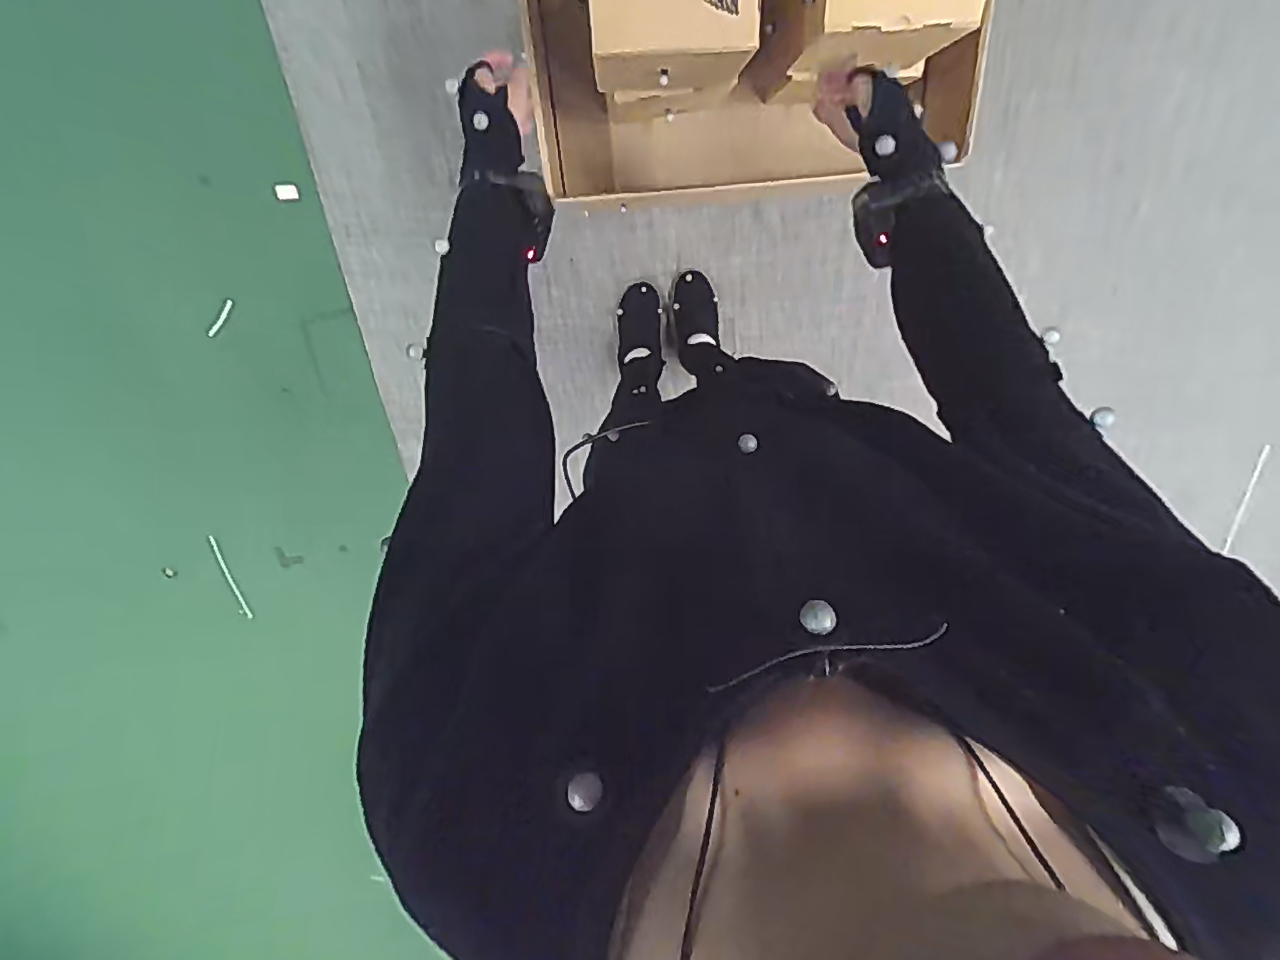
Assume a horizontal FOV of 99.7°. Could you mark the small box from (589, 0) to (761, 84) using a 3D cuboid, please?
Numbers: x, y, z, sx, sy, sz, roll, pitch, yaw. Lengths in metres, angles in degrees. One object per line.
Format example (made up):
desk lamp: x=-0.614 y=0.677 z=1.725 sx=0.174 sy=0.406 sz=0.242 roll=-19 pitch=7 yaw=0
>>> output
small box: x=0.033 y=-0.555 z=0.594 sx=0.179 sy=0.176 sz=0.168 roll=-2 pitch=114 yaw=0

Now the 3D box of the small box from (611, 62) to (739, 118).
small box: x=0.034 y=-0.626 z=0.742 sx=0.168 sy=0.176 sz=0.179 roll=-8 pitch=115 yaw=2

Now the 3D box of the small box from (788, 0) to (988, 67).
small box: x=0.268 y=-0.583 z=0.589 sx=0.168 sy=0.176 sz=0.179 roll=-2 pitch=115 yaw=1
